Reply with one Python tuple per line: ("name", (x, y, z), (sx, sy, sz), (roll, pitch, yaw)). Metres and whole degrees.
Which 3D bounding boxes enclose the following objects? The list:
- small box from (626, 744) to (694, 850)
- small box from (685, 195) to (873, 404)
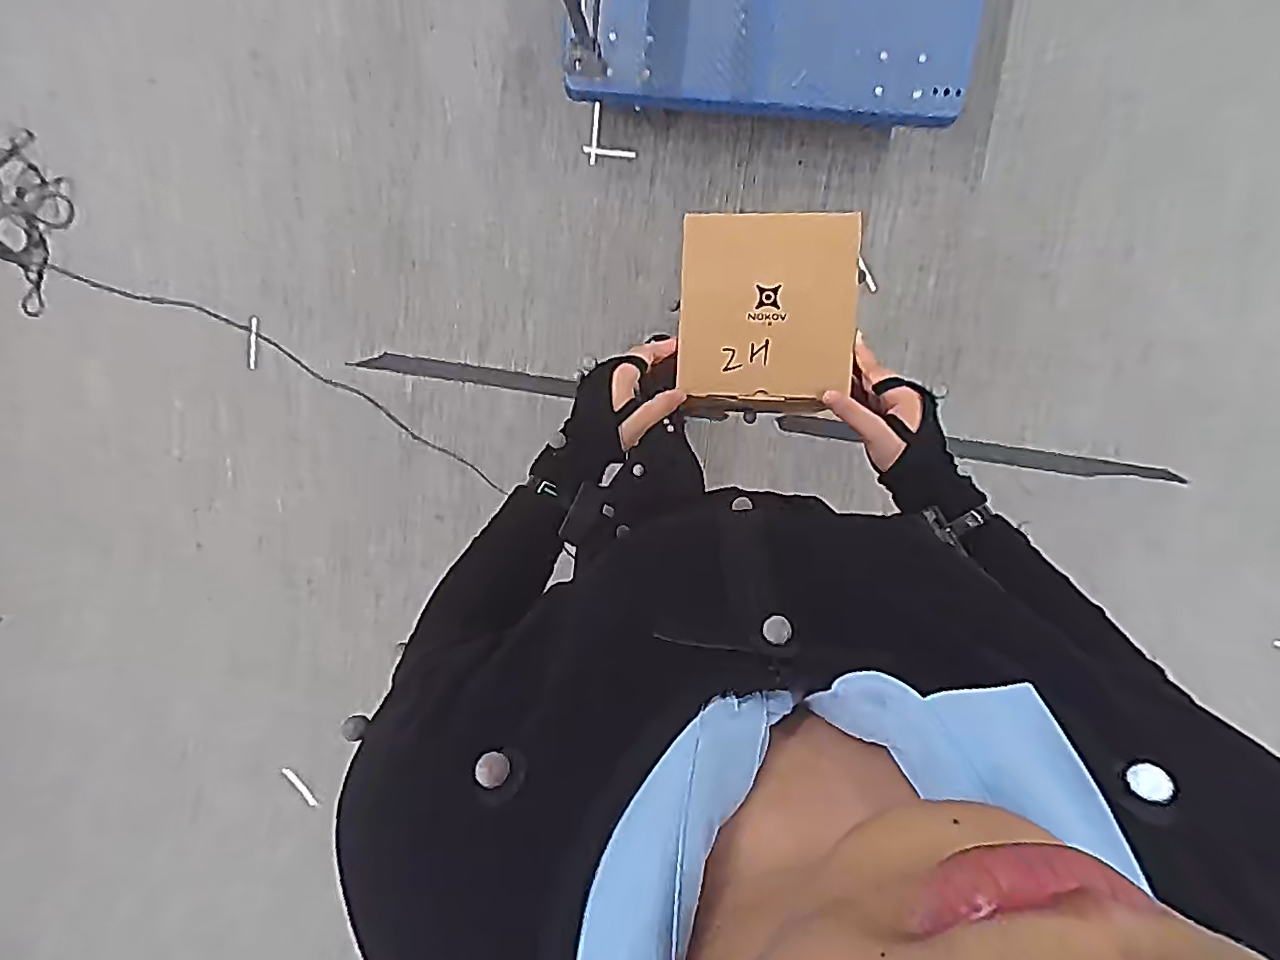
("small box", (0.058, 0.870, 1.494), (0.168, 0.176, 0.179), (6, 97, 2))
("small box", (0.136, -0.180, 0.582), (0.168, 0.176, 0.179), (3, 94, 7))
